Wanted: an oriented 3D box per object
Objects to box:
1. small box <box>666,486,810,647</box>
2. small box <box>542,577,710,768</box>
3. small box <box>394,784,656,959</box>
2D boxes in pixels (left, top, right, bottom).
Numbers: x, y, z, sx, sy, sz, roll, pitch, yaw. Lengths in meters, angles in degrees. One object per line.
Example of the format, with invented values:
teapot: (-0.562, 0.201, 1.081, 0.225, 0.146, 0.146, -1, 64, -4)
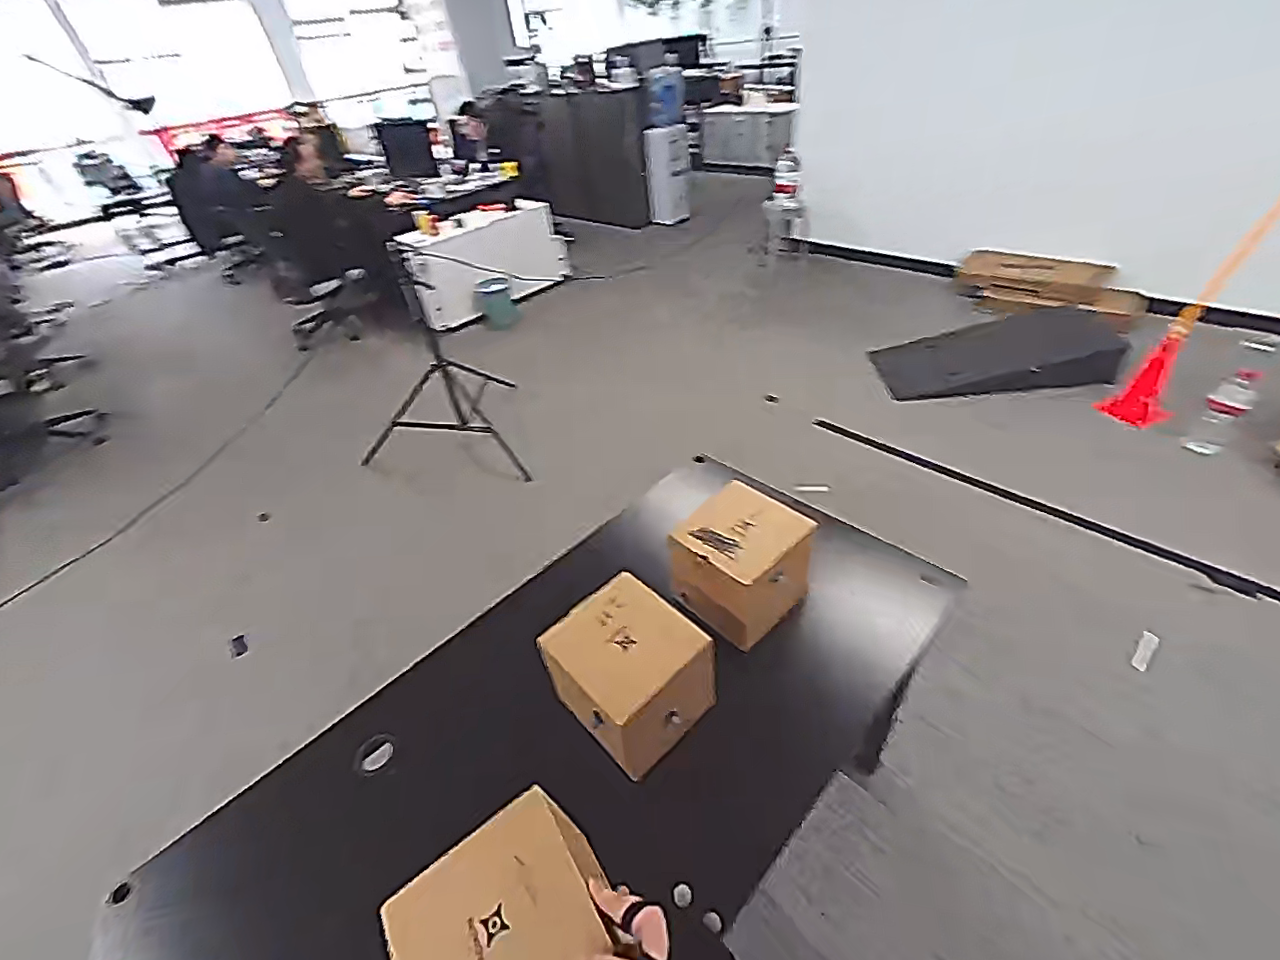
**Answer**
small box: (0.167, 0.146, 0.918, 0.179, 0.176, 0.168, -34, 45, -28)
small box: (-0.012, 0.284, 0.787, 0.168, 0.176, 0.179, -35, 46, -28)
small box: (-0.107, 0.459, 0.540, 0.179, 0.176, 0.168, -32, 43, -18)
